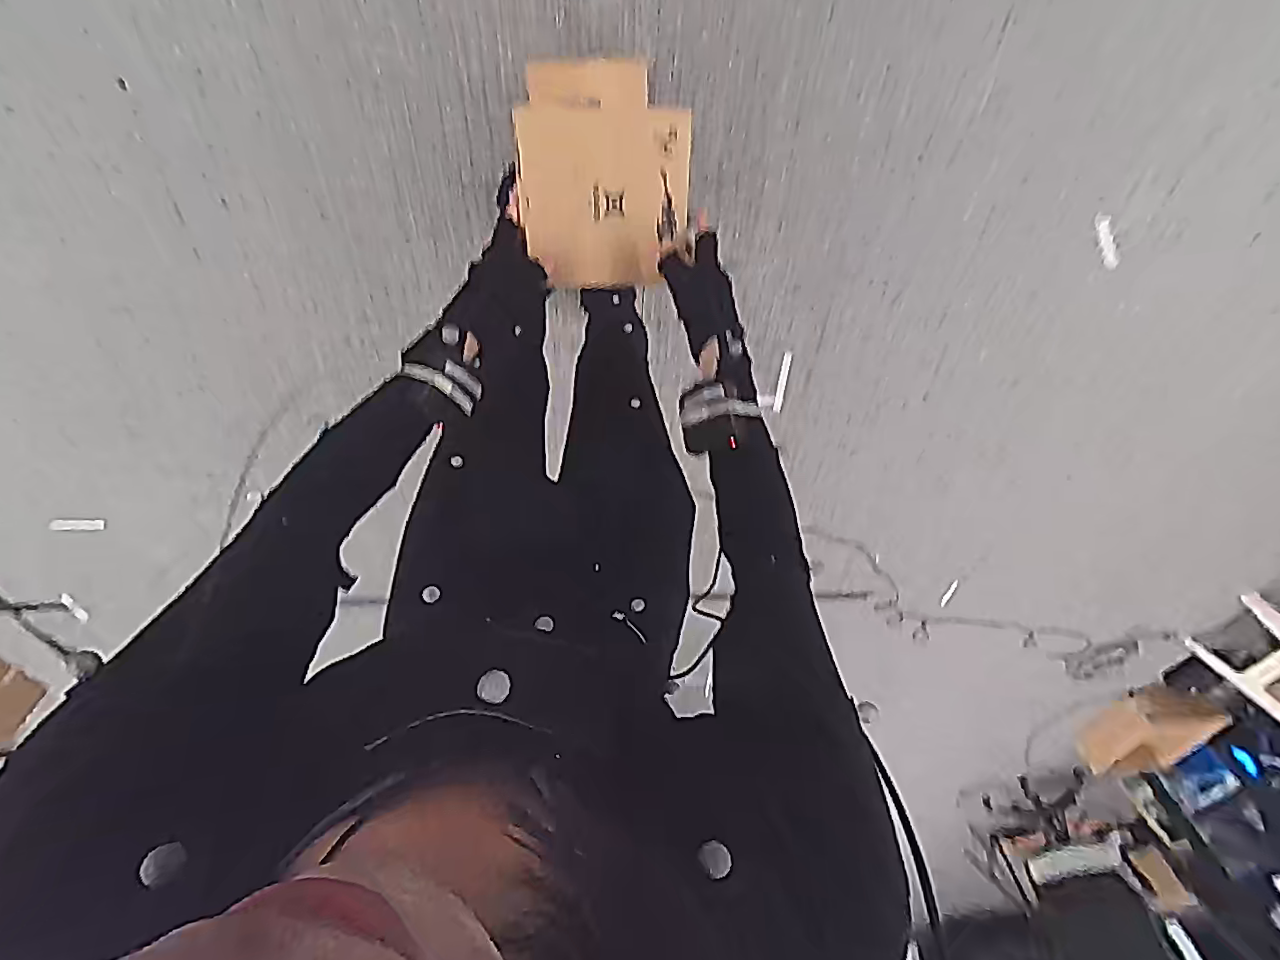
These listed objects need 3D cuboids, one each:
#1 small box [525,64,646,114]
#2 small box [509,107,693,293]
[{"bbox_3d":[-0.079,-0.533,0.840,0.168,0.176,0.179,-4,129,-4],"label":"small box"},{"bbox_3d":[-0.047,-0.313,0.616,0.179,0.176,0.168,-3,120,-7],"label":"small box"}]
